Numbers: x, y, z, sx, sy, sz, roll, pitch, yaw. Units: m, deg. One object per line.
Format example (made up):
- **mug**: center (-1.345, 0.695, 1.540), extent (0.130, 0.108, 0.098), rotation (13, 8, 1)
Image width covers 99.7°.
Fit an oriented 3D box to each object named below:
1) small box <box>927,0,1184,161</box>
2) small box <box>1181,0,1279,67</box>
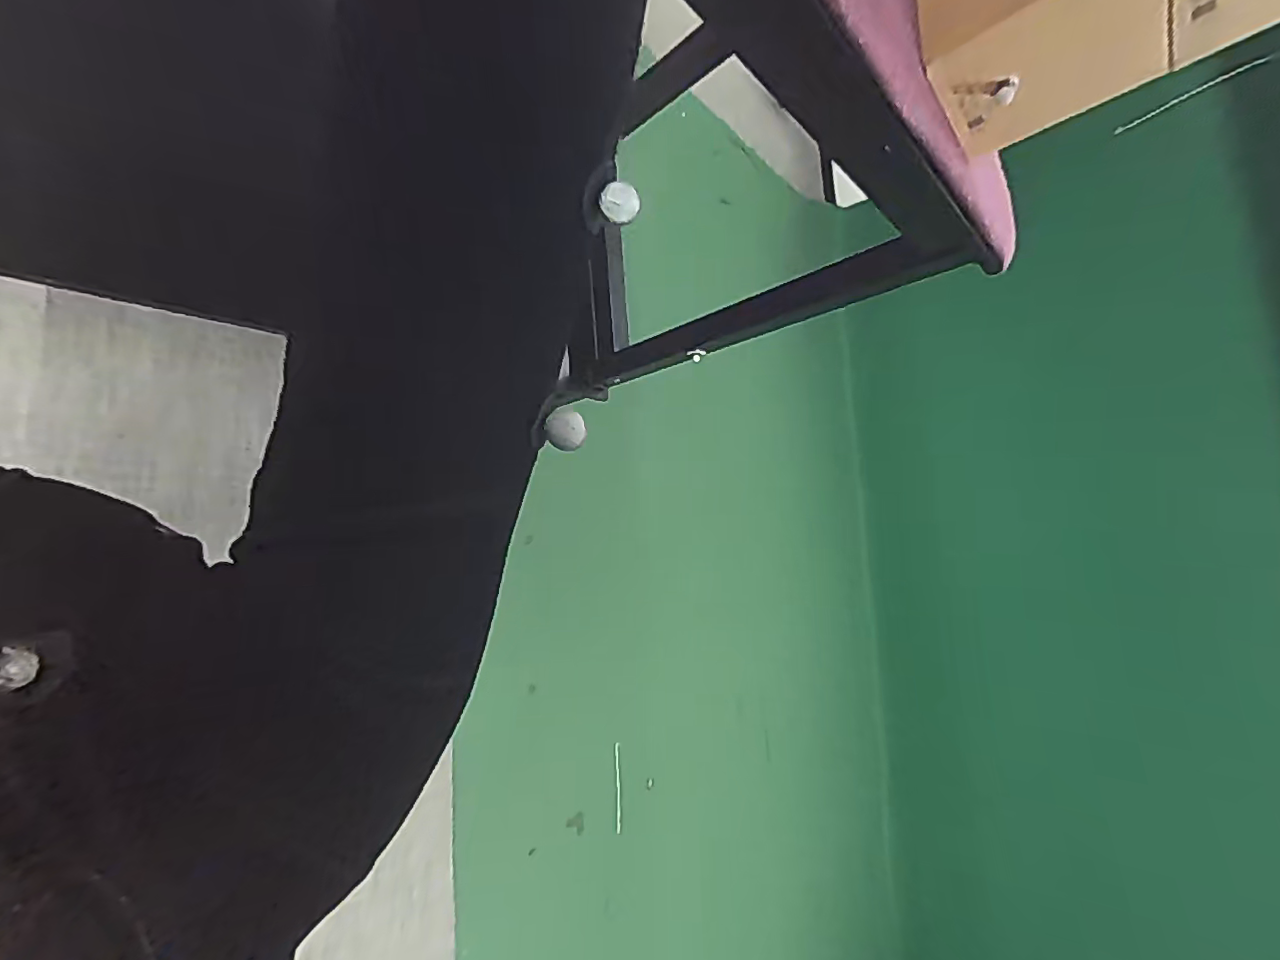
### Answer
- **small box**: center (0.382, -0.454, 0.509), extent (0.168, 0.176, 0.179), rotation (11, 76, -44)
- **small box**: center (0.500, -0.474, 0.396), extent (0.168, 0.176, 0.179), rotation (11, 76, -44)
